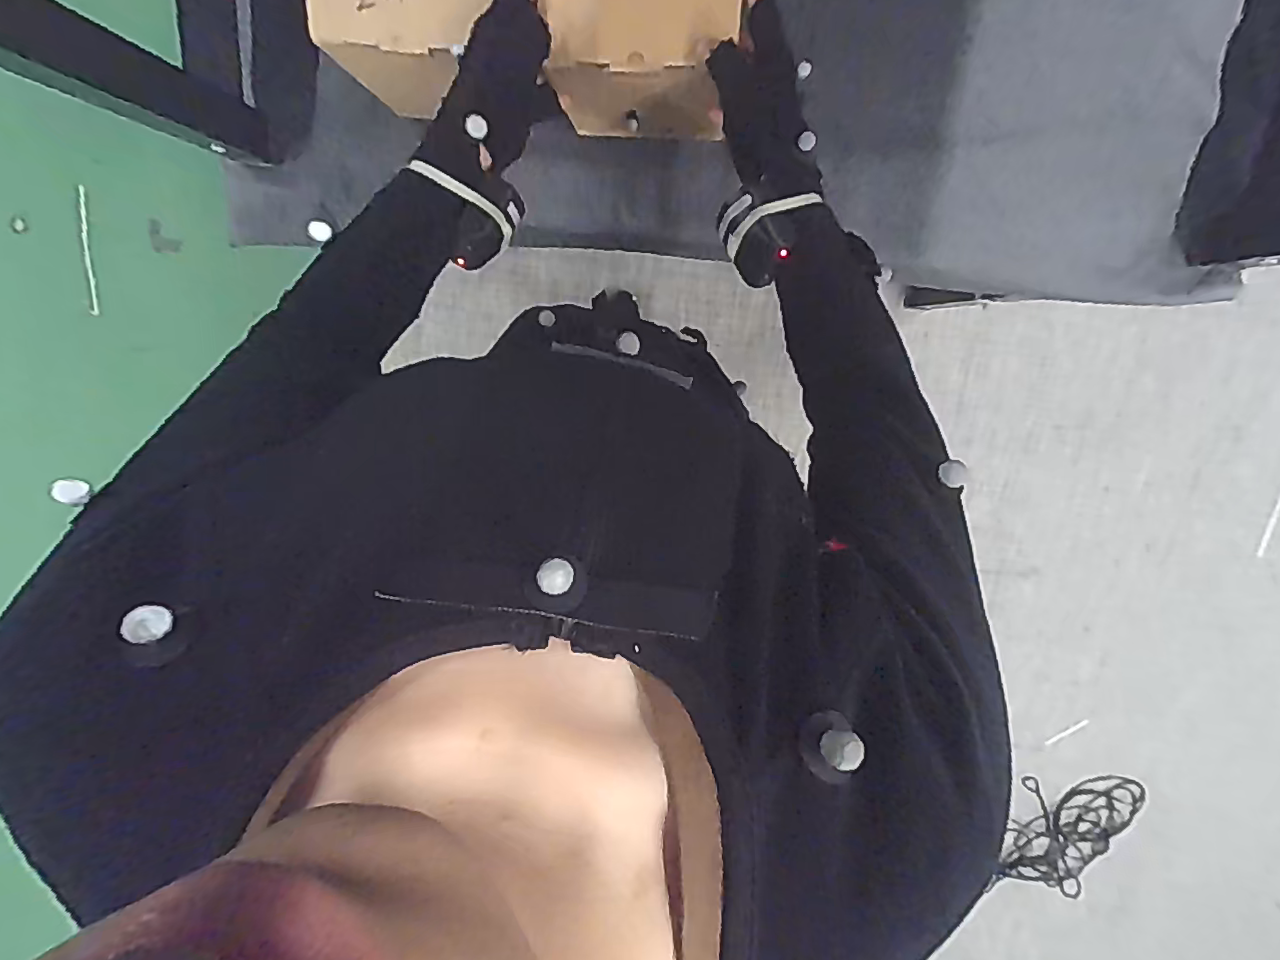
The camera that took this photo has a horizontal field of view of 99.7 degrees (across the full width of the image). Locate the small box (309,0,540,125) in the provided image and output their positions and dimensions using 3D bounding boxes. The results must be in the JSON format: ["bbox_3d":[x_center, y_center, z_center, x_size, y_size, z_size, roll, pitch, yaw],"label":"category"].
[{"bbox_3d":[-0.196,-0.483,0.529,0.168,0.176,0.179,4,105,1],"label":"small box"}]

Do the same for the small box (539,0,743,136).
[{"bbox_3d":[0.009,-0.447,0.497,0.168,0.176,0.179,5,106,3],"label":"small box"}]
